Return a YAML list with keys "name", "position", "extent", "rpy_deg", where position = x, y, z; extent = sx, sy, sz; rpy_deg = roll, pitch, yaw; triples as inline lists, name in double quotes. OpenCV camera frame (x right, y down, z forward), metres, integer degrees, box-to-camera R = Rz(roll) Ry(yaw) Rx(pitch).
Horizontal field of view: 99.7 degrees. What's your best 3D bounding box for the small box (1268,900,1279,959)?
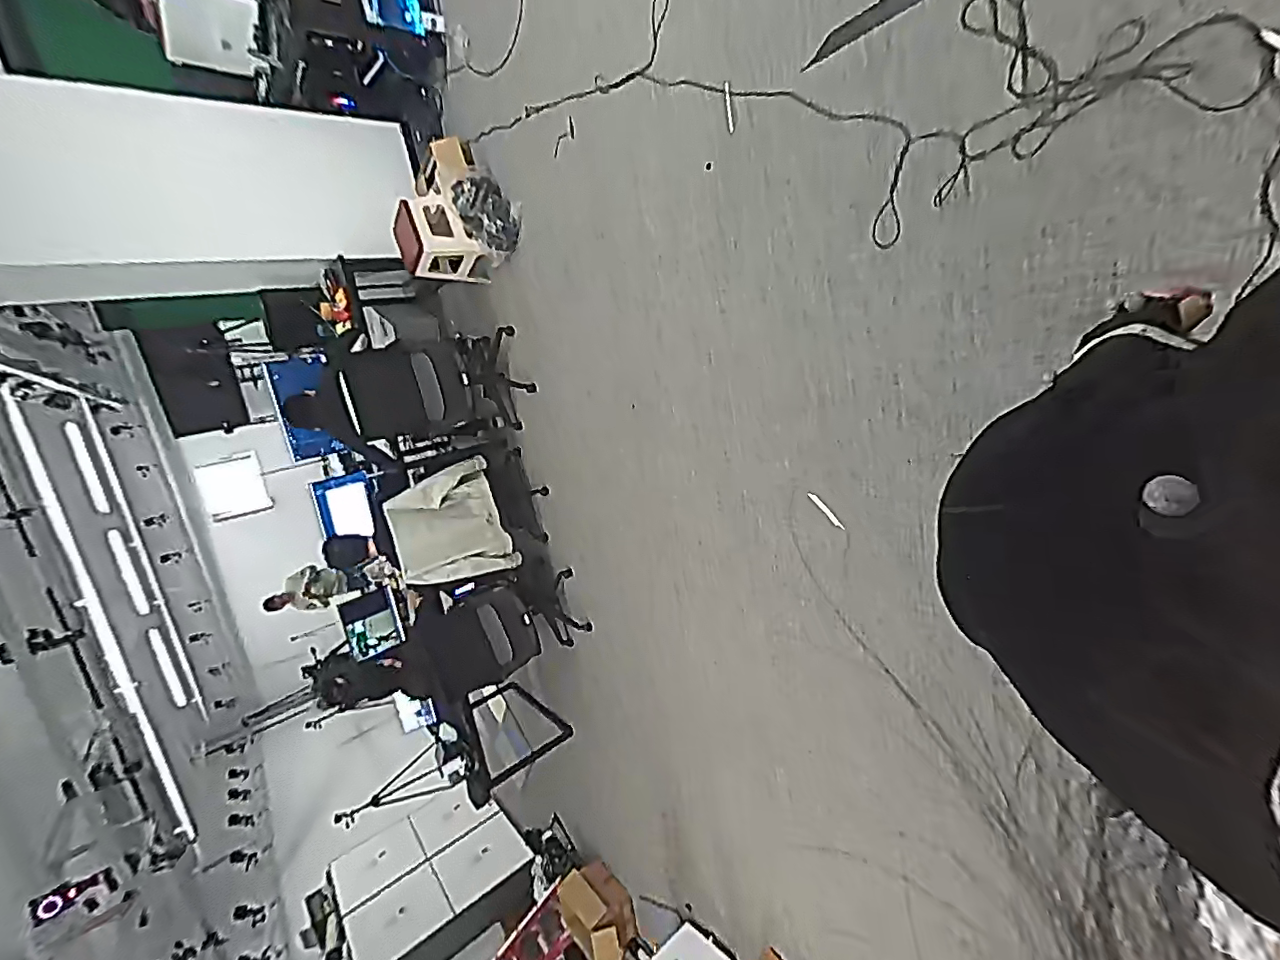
- name: "small box"
  position: [0.841, 0.621, 0.612]
  extent: [0.168, 0.176, 0.179]
  rpy_deg: [8, 110, 50]
